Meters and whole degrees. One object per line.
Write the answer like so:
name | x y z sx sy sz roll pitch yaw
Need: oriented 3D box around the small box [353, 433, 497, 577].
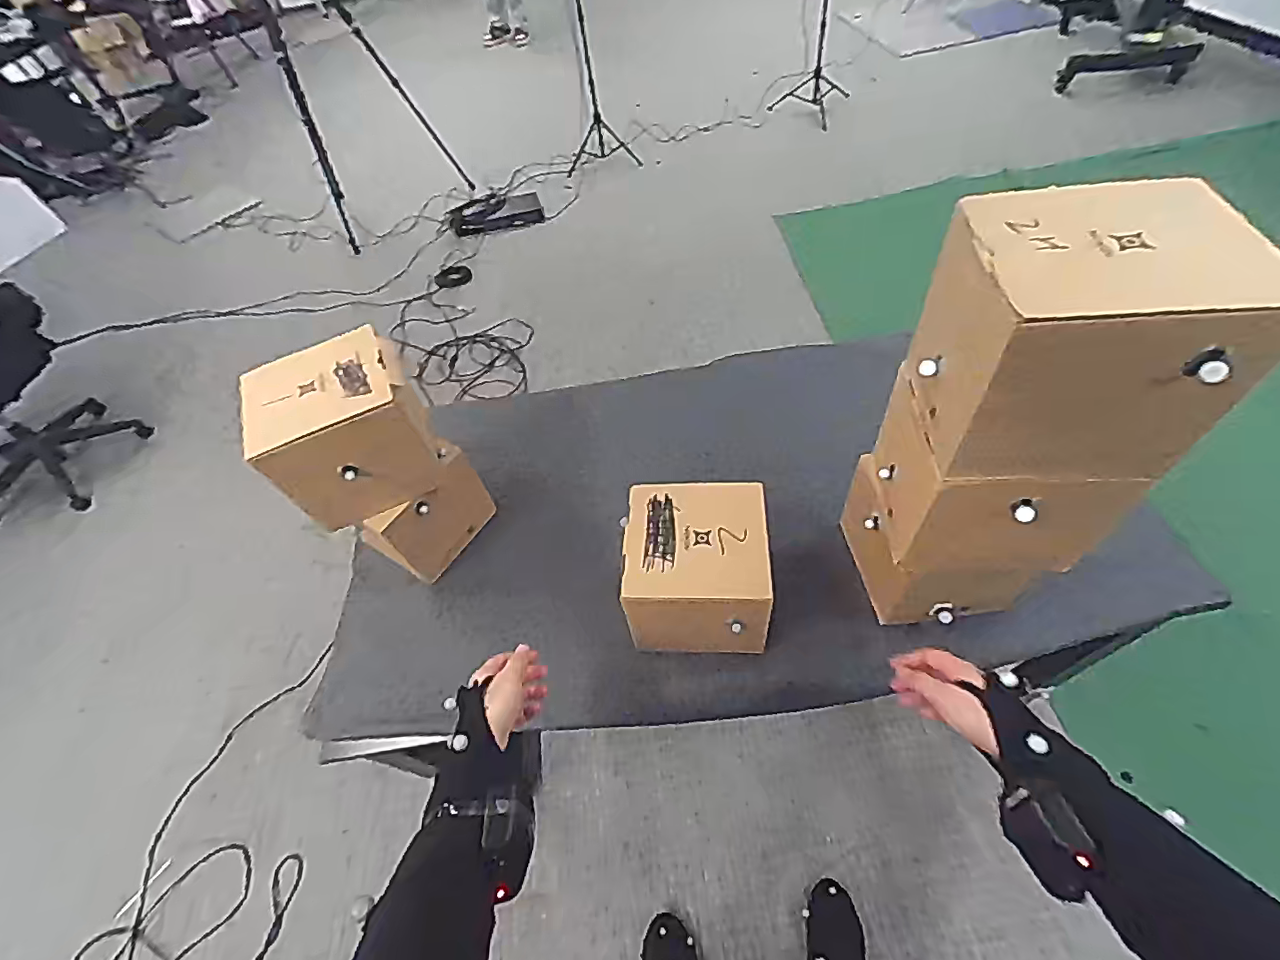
small box | -0.364 0.028 0.862 0.179 0.176 0.168 24 61 24

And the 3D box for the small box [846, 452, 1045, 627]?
small box | 0.386 0.071 0.710 0.168 0.176 0.179 -10 52 3

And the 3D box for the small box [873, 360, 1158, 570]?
small box | 0.366 -0.015 0.573 0.179 0.176 0.168 -2 53 10

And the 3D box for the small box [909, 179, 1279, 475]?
small box | 0.346 -0.116 0.444 0.179 0.176 0.168 0 53 11

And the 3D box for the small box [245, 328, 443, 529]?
small box | -0.385 -0.065 0.727 0.179 0.176 0.168 -25 55 -9
